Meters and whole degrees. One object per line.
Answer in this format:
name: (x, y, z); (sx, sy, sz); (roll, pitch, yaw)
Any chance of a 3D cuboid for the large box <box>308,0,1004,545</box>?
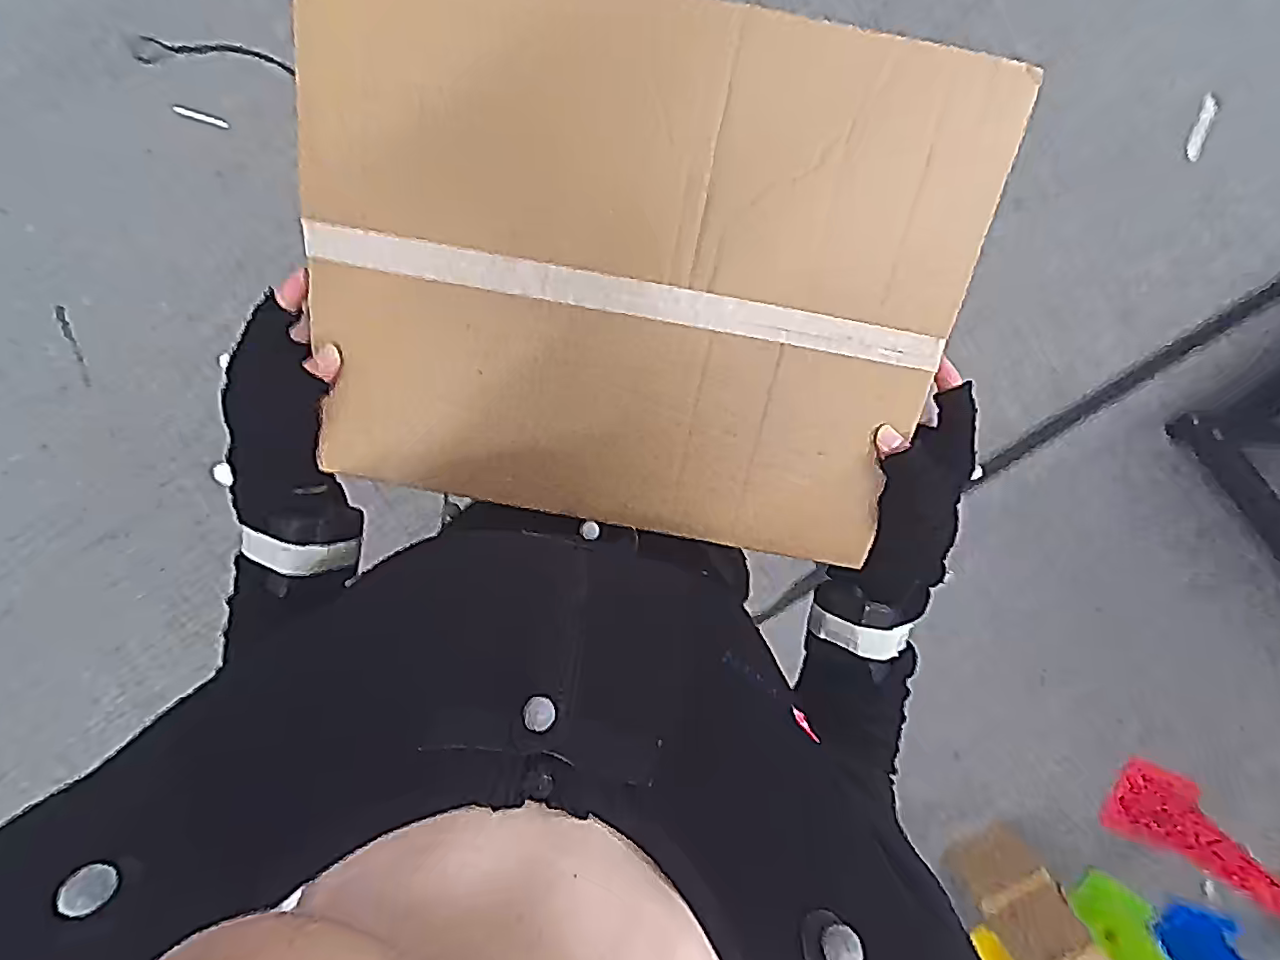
large box: (-0.007, -0.171, 0.492); (0.408, 0.320, 0.320); (9, 112, -1)
